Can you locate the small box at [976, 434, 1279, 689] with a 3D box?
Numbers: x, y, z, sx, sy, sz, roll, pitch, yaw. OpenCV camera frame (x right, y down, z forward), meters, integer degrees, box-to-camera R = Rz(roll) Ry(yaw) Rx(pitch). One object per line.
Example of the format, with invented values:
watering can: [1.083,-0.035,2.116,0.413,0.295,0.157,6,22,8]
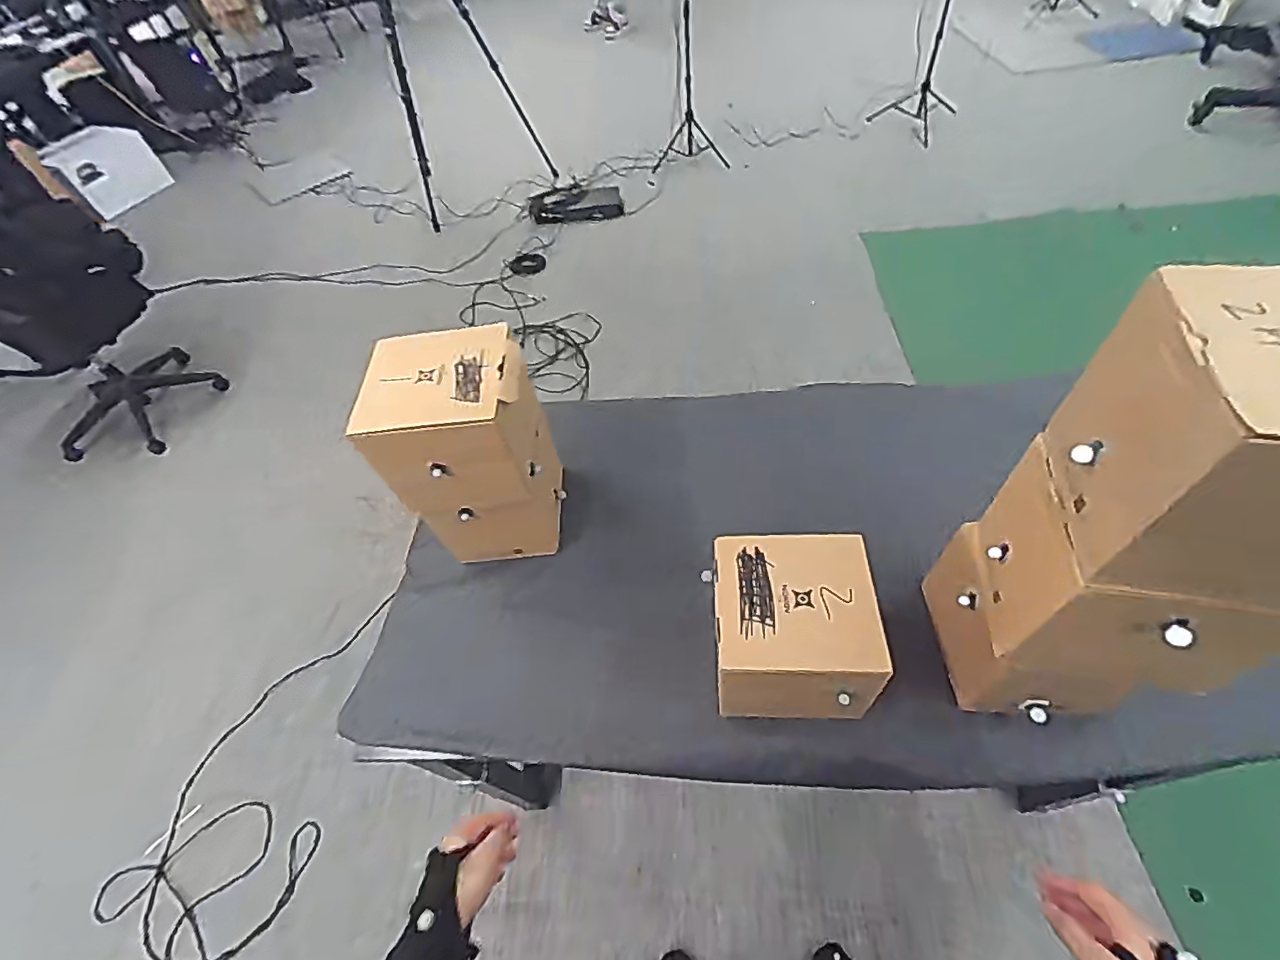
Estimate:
small box: [0.447,0.079,0.503,0.179,0.176,0.168,6,53,14]

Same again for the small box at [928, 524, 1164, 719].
small box: [0.466,0.167,0.639,0.168,0.176,0.179,-3,52,7]

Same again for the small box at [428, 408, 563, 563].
small box: [-0.220,0.011,0.853,0.168,0.176,0.179,-6,53,3]

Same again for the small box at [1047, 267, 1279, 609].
small box: [0.430,-0.024,0.375,0.179,0.176,0.168,7,53,15]

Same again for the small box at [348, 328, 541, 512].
small box: [-0.237,-0.073,0.712,0.179,0.176,0.168,-6,54,4]
